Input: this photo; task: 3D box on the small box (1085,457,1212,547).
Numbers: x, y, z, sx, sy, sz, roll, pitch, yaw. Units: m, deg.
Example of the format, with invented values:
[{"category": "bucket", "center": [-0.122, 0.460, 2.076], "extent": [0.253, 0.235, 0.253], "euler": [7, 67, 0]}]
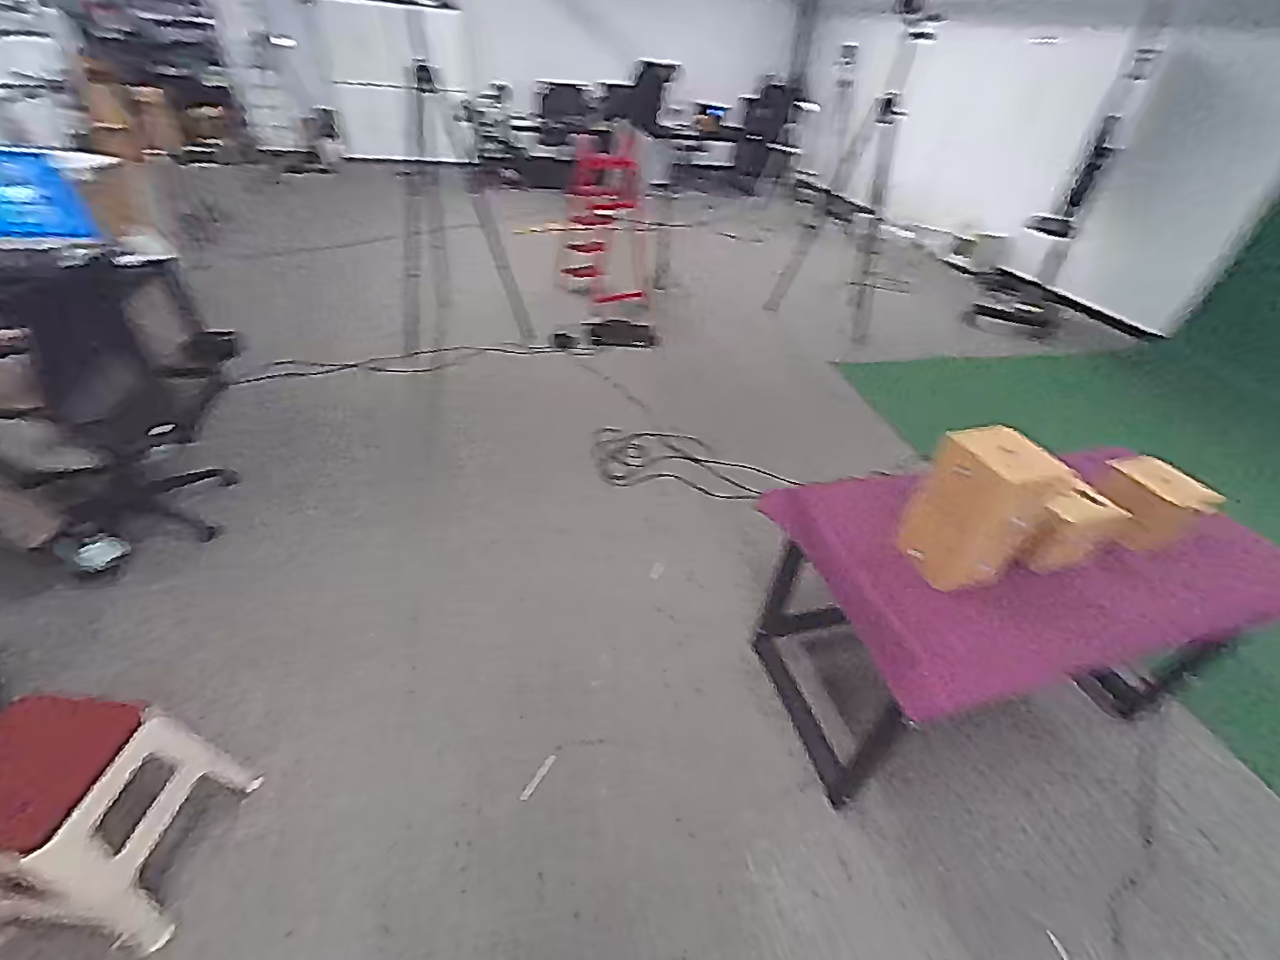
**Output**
[{"category": "small box", "center": [1.320, 0.062, 1.437], "extent": [0.168, 0.176, 0.179], "euler": [-7, 40, -15]}]

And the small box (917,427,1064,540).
[{"category": "small box", "center": [0.747, 0.006, 1.178], "extent": [0.168, 0.176, 0.179], "euler": [-8, 41, -15]}]

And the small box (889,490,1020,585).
[{"category": "small box", "center": [0.733, 0.133, 1.282], "extent": [0.168, 0.176, 0.179], "euler": [-7, 41, -16]}]

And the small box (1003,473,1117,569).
[{"category": "small box", "center": [1.013, 0.100, 1.354], "extent": [0.179, 0.176, 0.168], "euler": [-8, 40, -15]}]
